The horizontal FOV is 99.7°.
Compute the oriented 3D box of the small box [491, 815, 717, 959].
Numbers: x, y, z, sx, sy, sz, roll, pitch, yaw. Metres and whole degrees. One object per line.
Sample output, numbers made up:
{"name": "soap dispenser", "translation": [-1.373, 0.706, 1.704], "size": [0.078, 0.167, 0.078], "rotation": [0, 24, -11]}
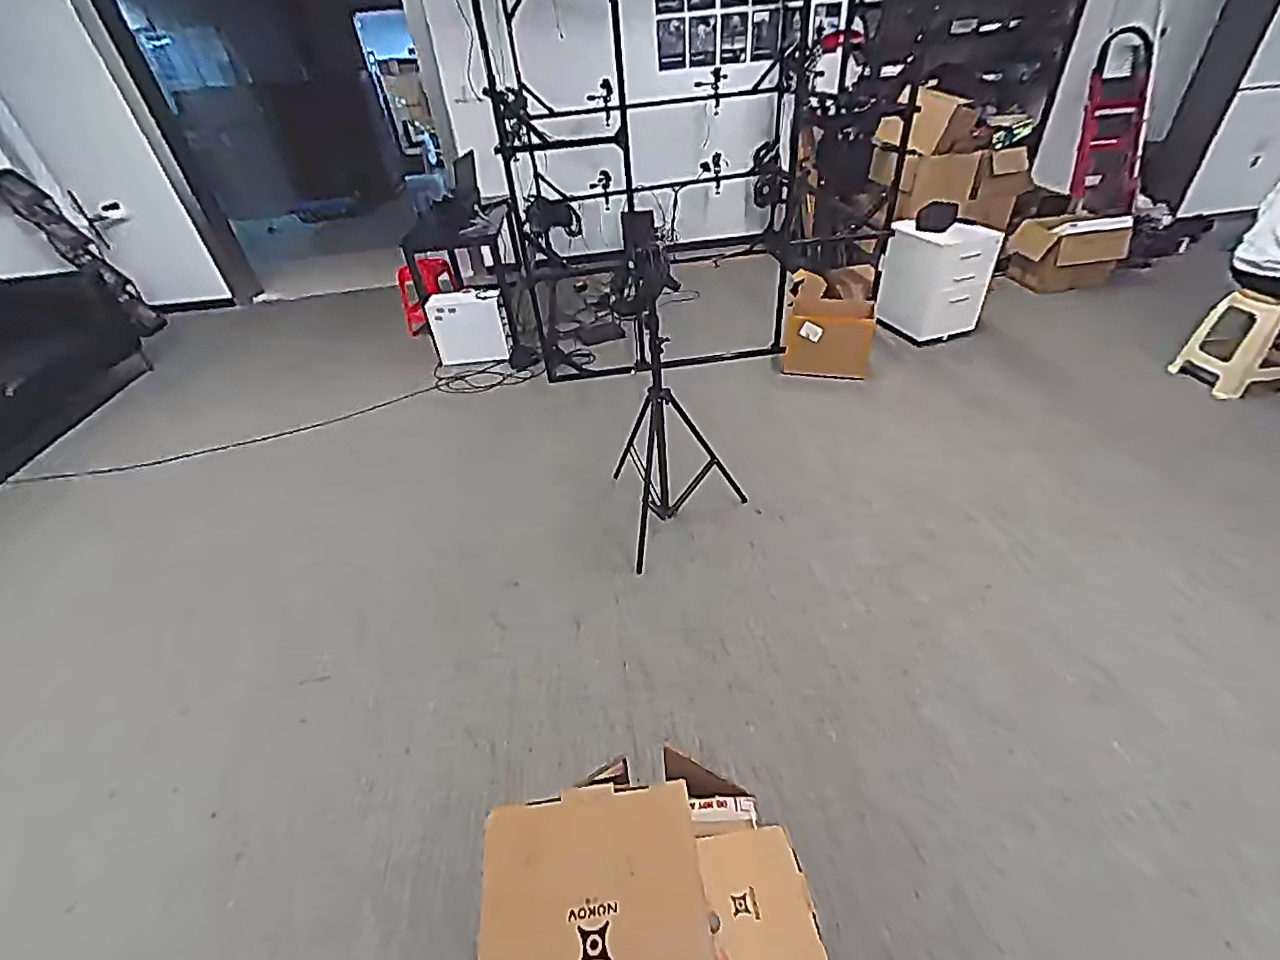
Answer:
{"name": "small box", "translation": [-0.024, 0.406, 0.443], "size": [0.168, 0.176, 0.179], "rotation": [-7, 45, -4]}

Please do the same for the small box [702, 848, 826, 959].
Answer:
{"name": "small box", "translation": [0.144, 0.645, 0.750], "size": [0.179, 0.176, 0.168], "rotation": [-8, 39, -5]}
